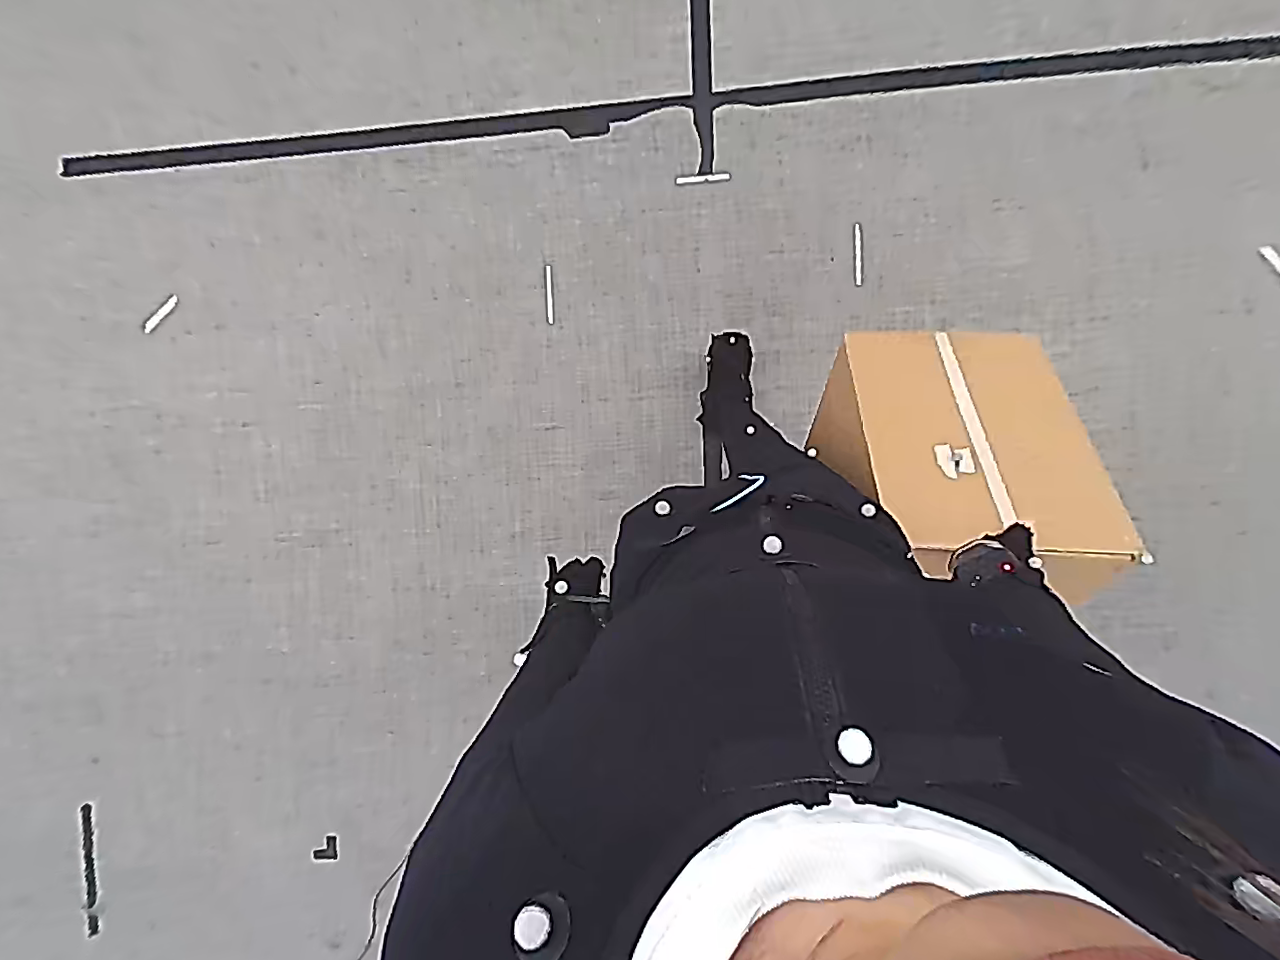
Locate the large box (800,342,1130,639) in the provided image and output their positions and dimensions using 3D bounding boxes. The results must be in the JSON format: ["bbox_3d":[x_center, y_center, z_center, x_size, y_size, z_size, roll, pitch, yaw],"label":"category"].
[{"bbox_3d":[0.477,0.019,0.916,0.320,0.320,0.408,1,56,5],"label":"large box"}]
